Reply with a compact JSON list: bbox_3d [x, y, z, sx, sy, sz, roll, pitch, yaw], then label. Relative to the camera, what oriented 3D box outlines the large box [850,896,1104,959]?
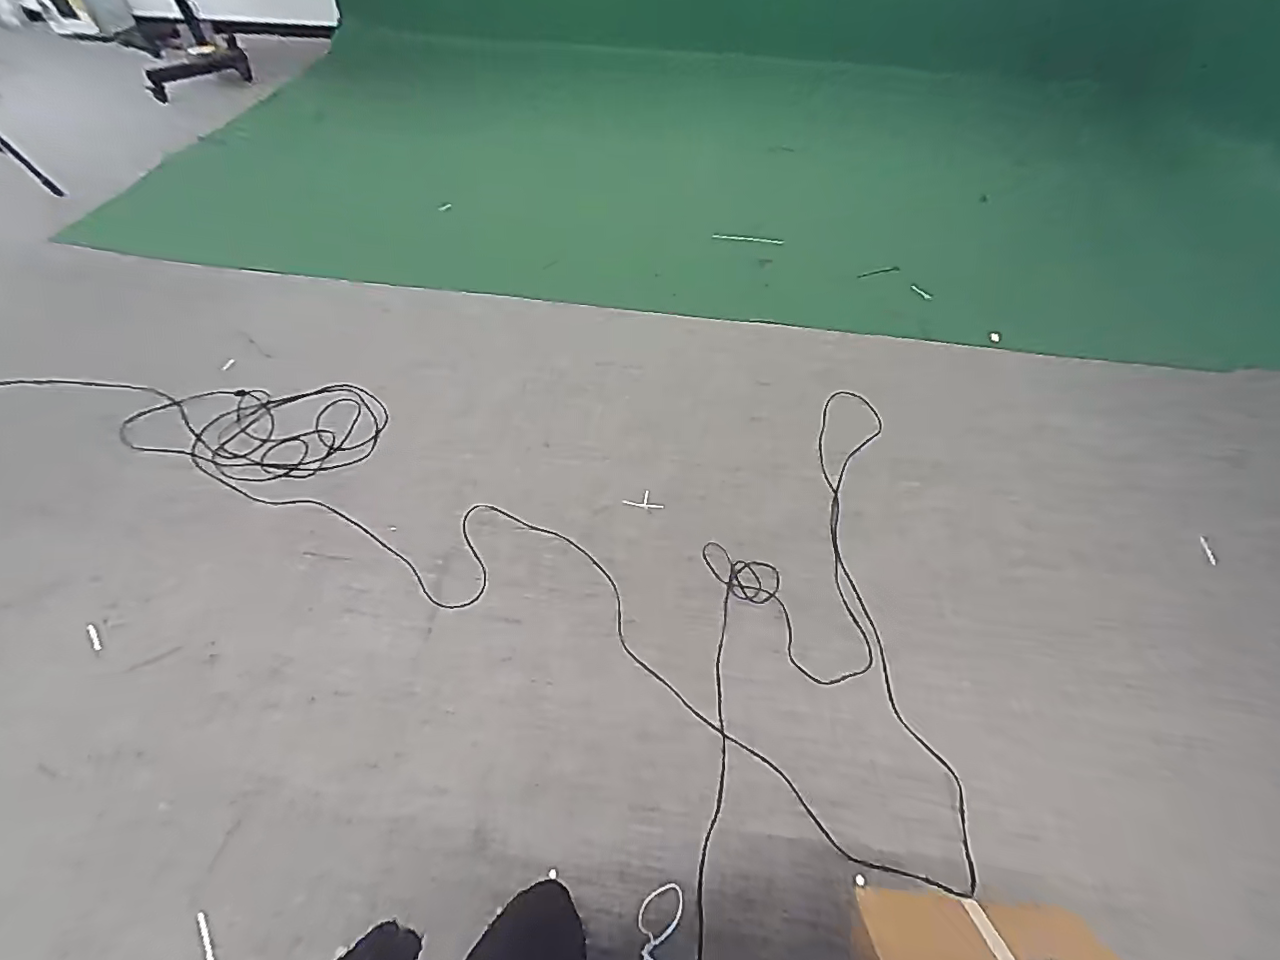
[{"bbox_3d":[0.437,0.768,0.588,0.320,0.408,0.320,3,88,7],"label":"large box"}]
